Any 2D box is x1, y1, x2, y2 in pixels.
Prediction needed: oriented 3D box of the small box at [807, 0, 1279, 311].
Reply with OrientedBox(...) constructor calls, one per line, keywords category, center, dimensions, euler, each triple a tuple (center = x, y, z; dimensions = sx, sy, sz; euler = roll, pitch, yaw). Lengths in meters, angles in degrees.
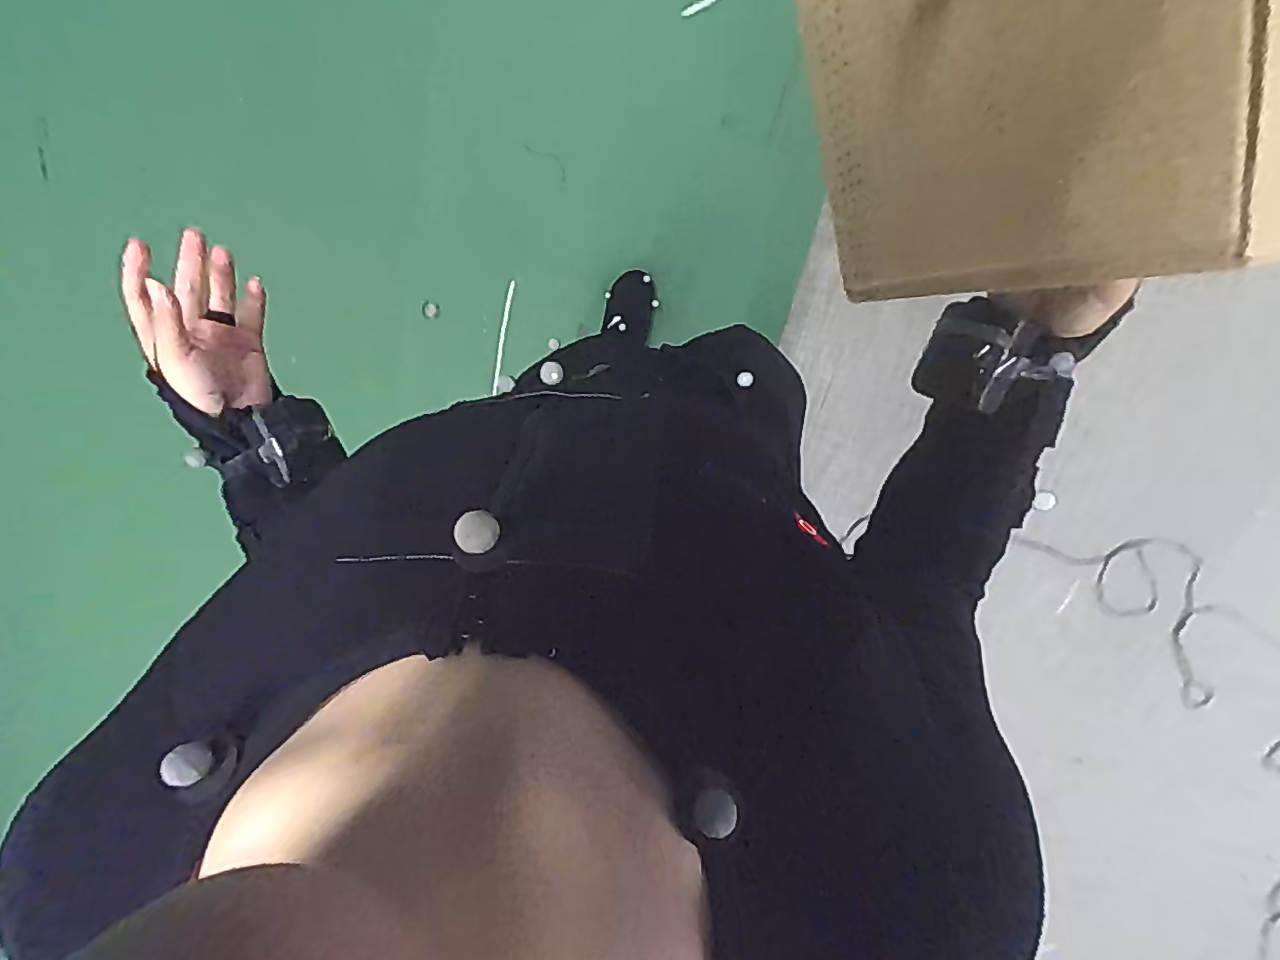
OrientedBox(category="small box", center=(0.176, -0.170, 0.187), dimensions=(0.168, 0.176, 0.179), euler=(-19, 107, -3))
